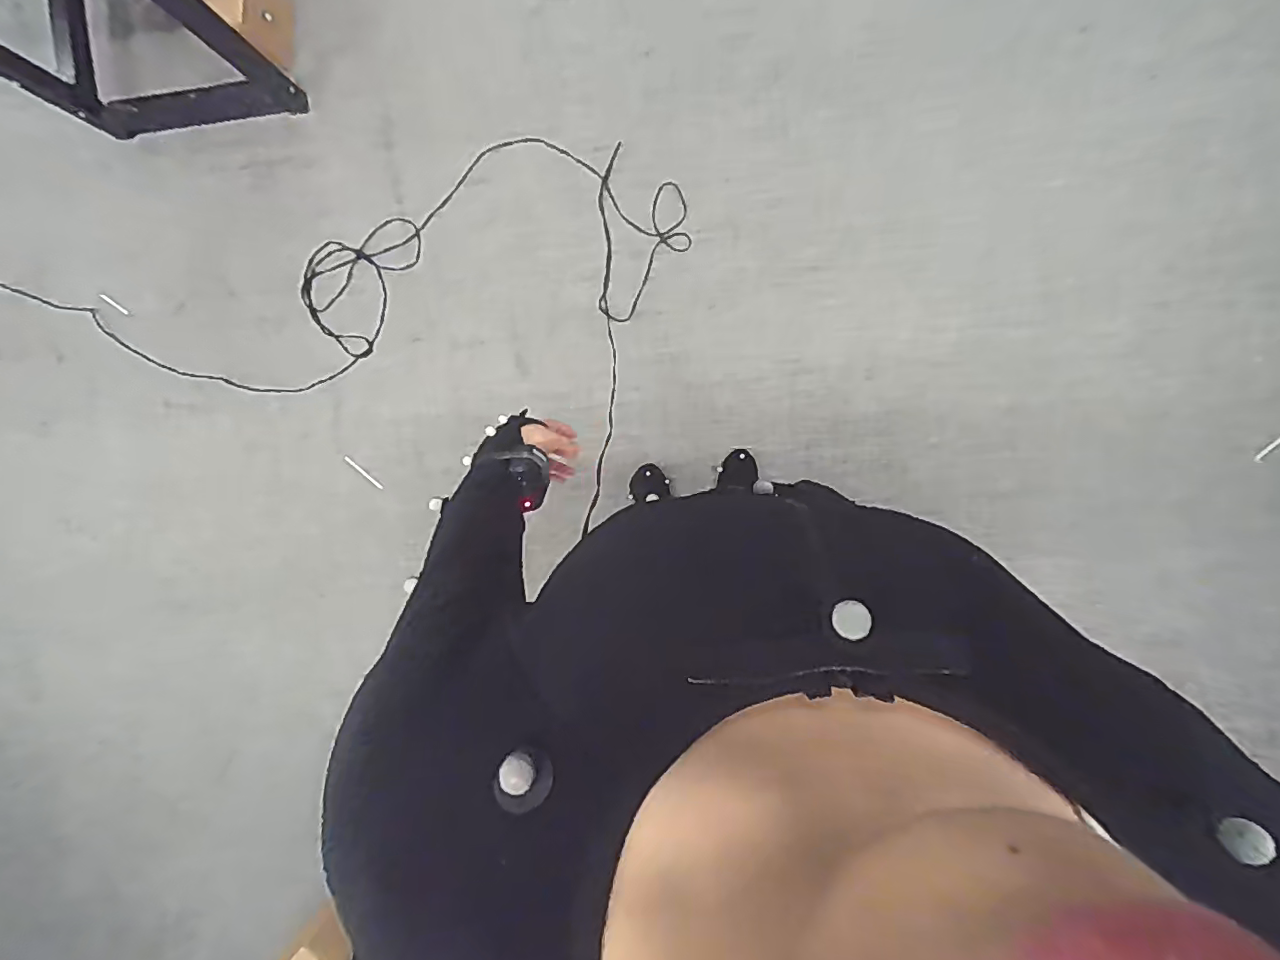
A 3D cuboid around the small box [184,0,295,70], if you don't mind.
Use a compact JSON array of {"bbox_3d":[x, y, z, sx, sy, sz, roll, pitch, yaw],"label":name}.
[{"bbox_3d":[-1.025,-1.204,1.395,0.168,0.176,0.179,8,96,3],"label":"small box"}]
